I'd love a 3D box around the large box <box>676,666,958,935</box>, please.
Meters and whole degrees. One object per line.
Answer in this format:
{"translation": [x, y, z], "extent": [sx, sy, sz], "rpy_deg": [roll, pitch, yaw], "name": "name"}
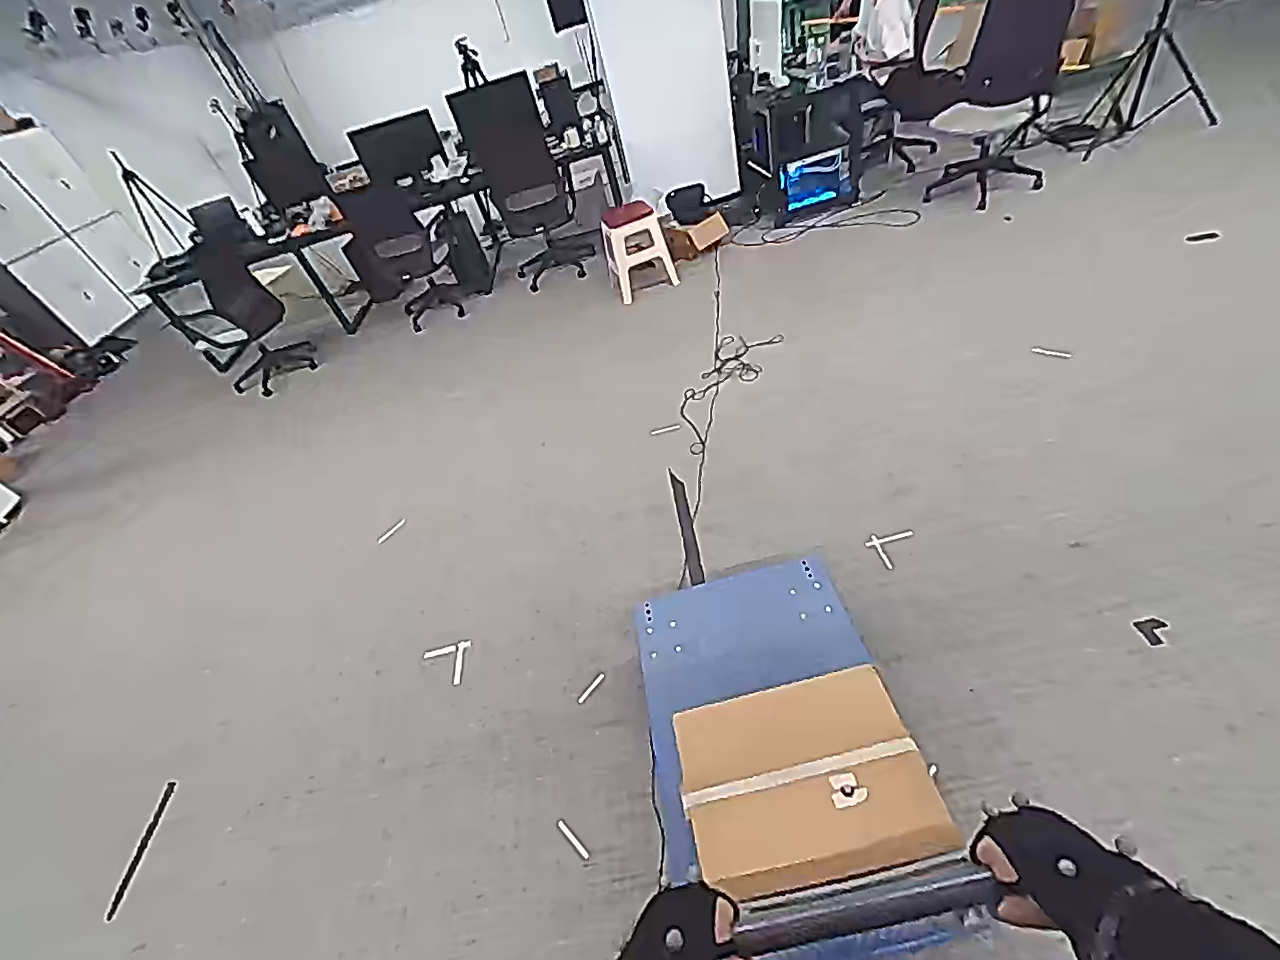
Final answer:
{"translation": [0.315, 0.624, 1.052], "extent": [0.408, 0.320, 0.320], "rpy_deg": [-16, 42, 3], "name": "large box"}
